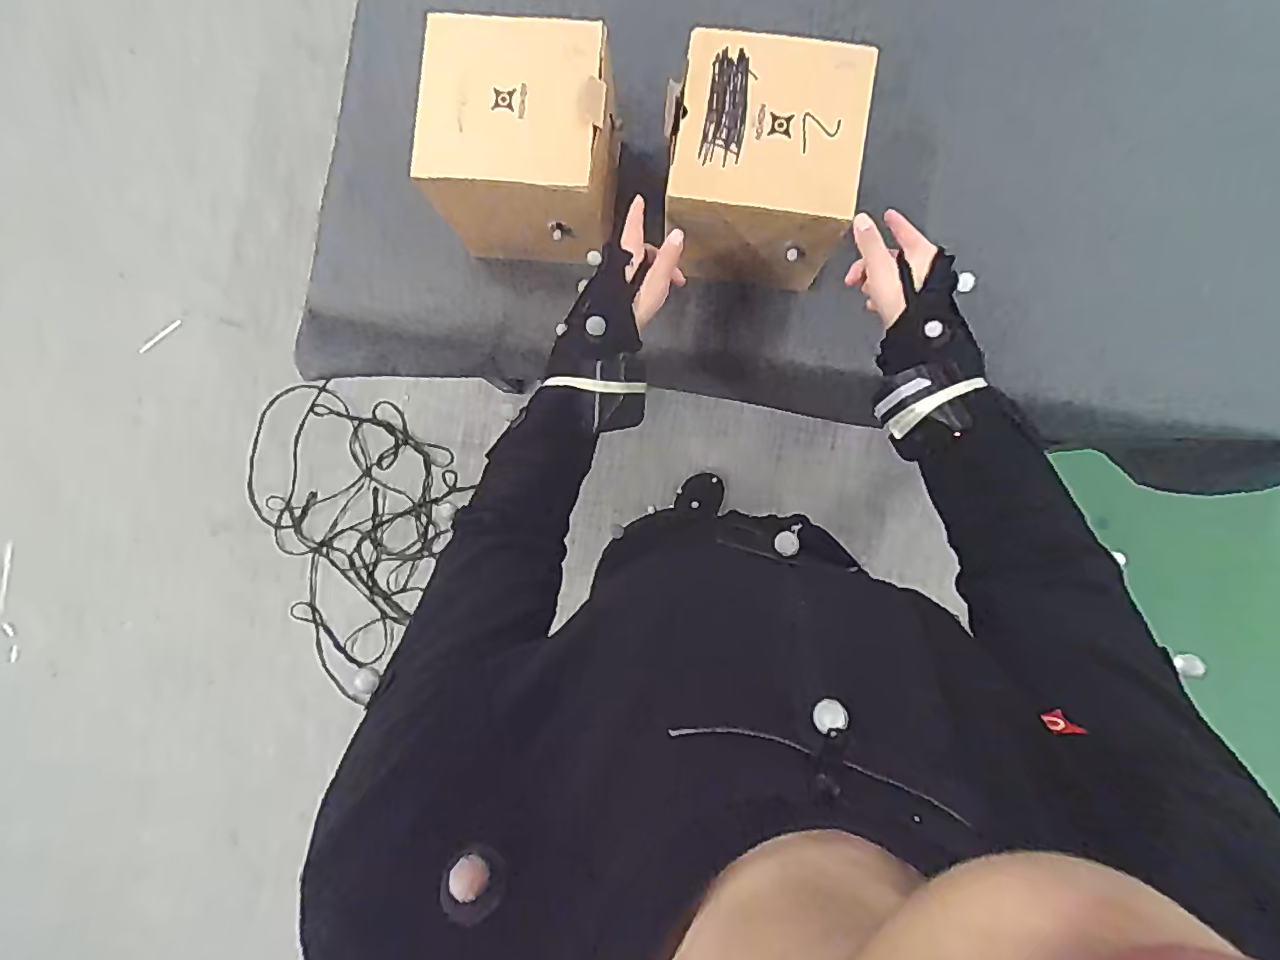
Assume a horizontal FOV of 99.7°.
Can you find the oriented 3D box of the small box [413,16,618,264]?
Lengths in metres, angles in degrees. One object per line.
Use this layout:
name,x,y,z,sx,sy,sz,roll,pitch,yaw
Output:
small box,-0.120,-0.352,0.591,0.179,0.176,0.168,4,87,3
